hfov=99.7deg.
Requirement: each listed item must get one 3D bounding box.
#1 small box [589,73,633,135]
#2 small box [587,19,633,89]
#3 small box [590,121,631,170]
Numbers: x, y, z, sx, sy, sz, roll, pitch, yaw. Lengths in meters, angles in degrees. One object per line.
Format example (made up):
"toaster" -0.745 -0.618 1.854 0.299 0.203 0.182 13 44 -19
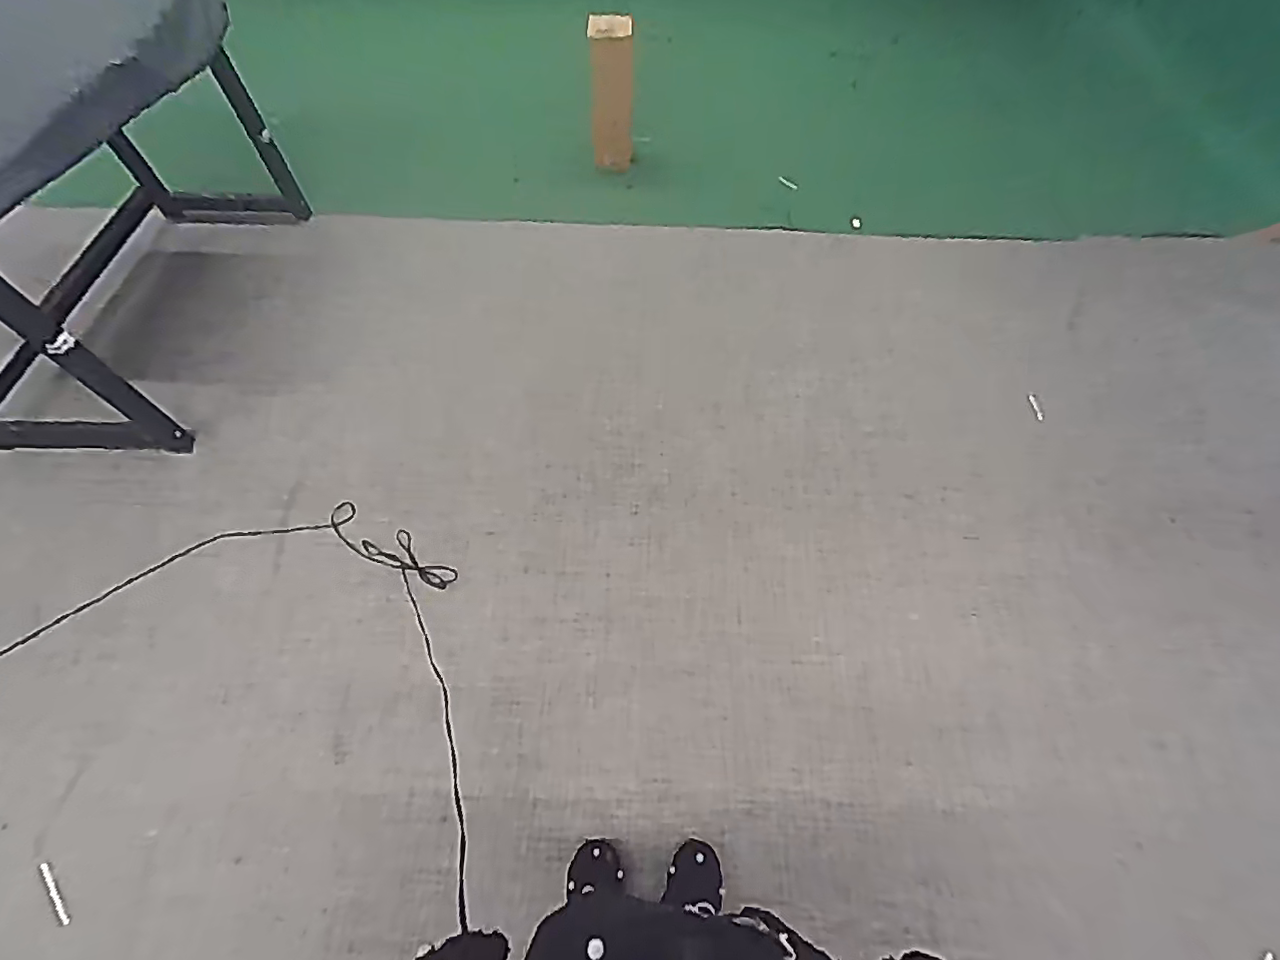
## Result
"small box" -0.117 -1.569 2.243 0.168 0.176 0.179 2 59 1
"small box" -0.113 -1.654 2.102 0.168 0.176 0.179 1 59 -1
"small box" -0.124 -1.494 2.367 0.168 0.176 0.179 2 60 2
